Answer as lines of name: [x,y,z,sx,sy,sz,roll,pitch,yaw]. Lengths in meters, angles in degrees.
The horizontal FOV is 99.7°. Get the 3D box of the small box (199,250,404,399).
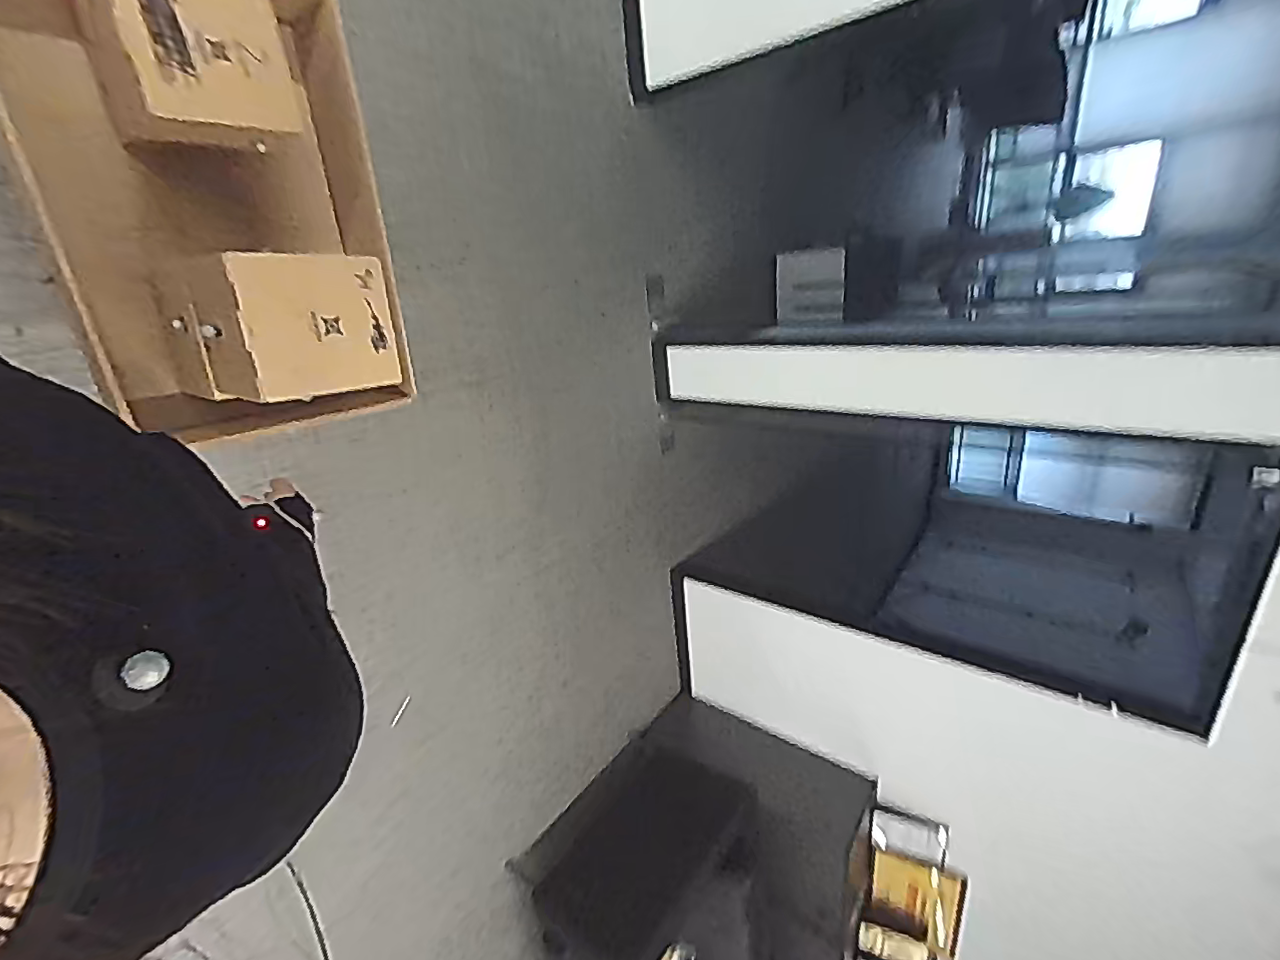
small box: [-0.446,-0.203,0.713,0.179,0.176,0.168,-22,117,-46]
